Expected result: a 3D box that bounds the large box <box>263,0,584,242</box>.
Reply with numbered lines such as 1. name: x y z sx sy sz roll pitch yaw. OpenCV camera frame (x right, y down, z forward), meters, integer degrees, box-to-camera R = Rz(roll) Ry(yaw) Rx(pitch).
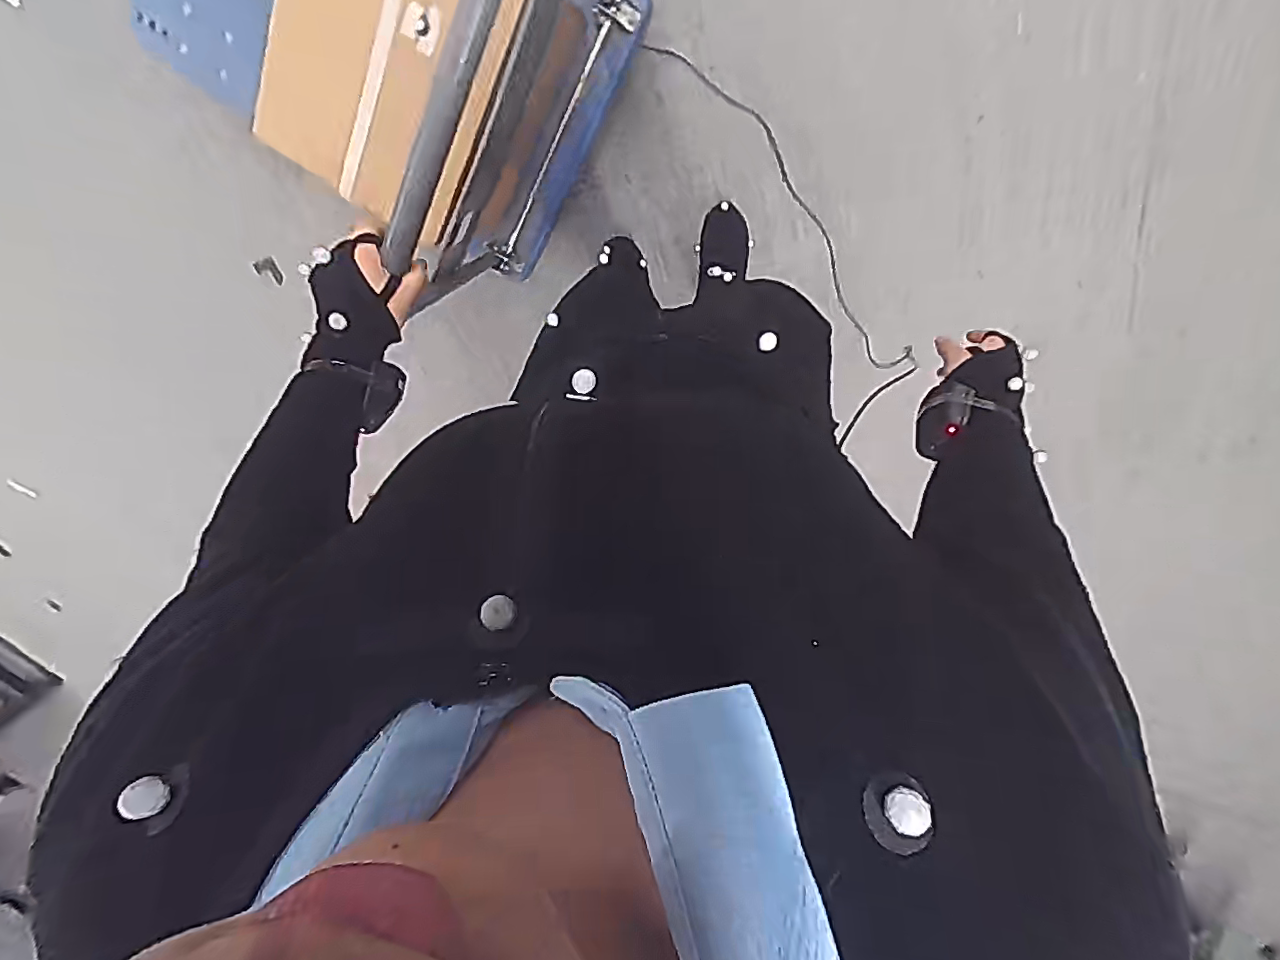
1. large box: -0.341 -0.677 0.898 0.320 0.320 0.408 31 119 -11
